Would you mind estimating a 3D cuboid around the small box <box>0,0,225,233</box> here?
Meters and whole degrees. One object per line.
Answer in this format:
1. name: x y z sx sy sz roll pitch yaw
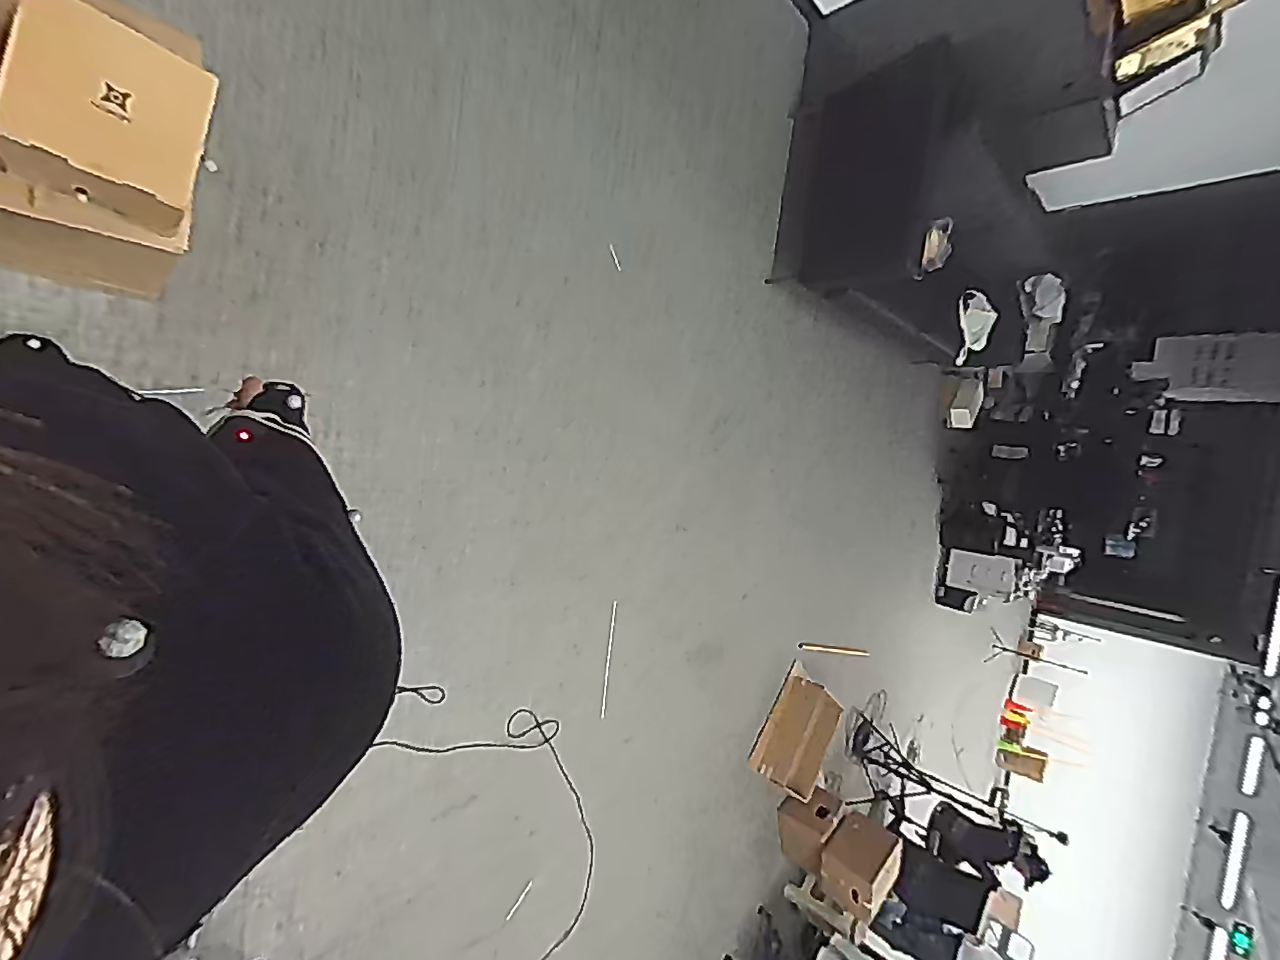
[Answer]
1. small box: -0.651 -0.442 0.677 0.168 0.176 0.179 13 88 -44
